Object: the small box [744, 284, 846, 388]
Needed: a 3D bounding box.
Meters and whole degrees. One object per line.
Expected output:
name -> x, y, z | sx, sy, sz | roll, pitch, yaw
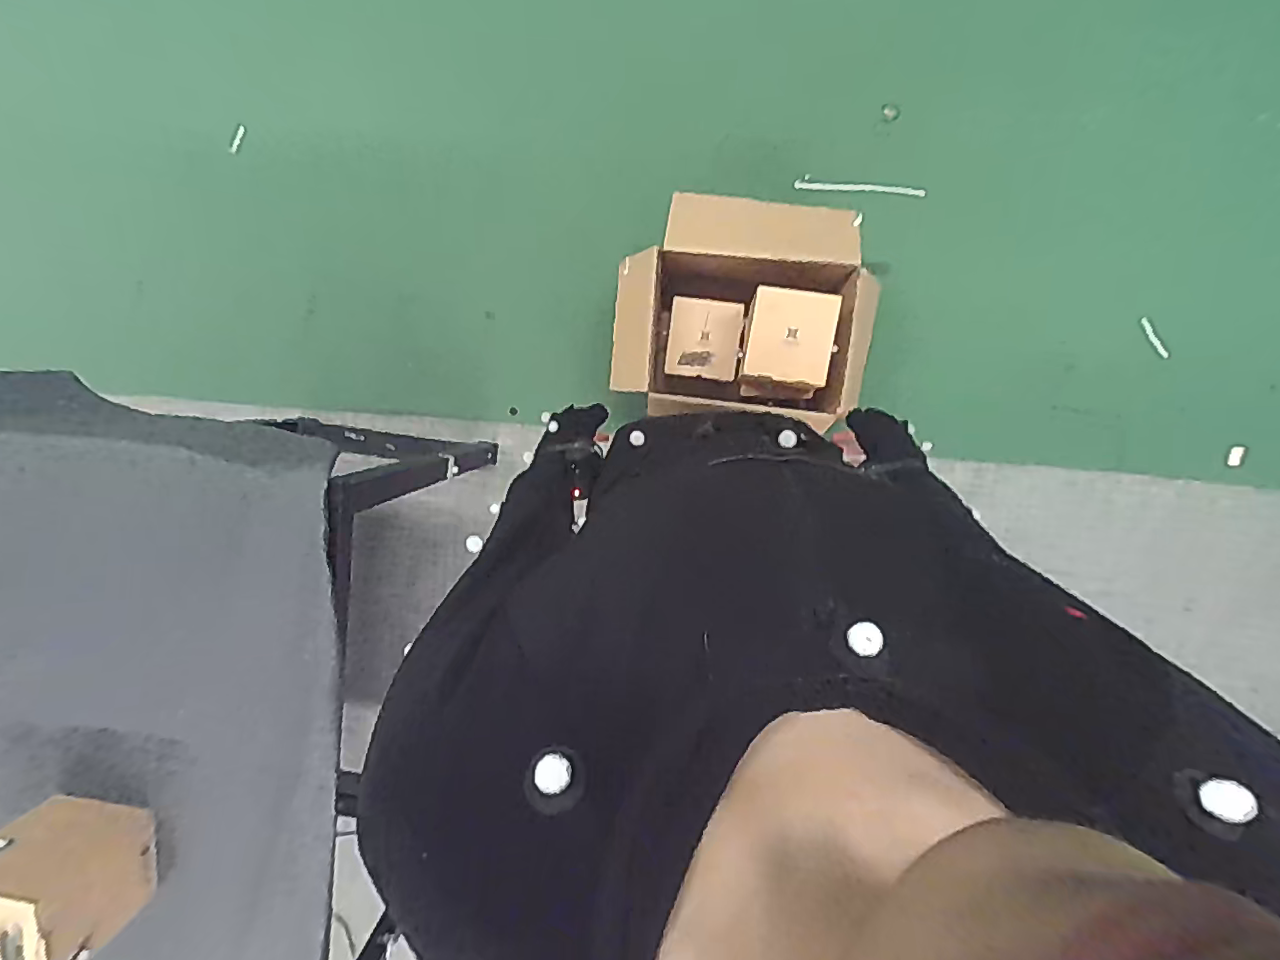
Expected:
small box -> 0.317, -0.297, 1.144 | 0.168, 0.176, 0.179 | 10, 97, 6
